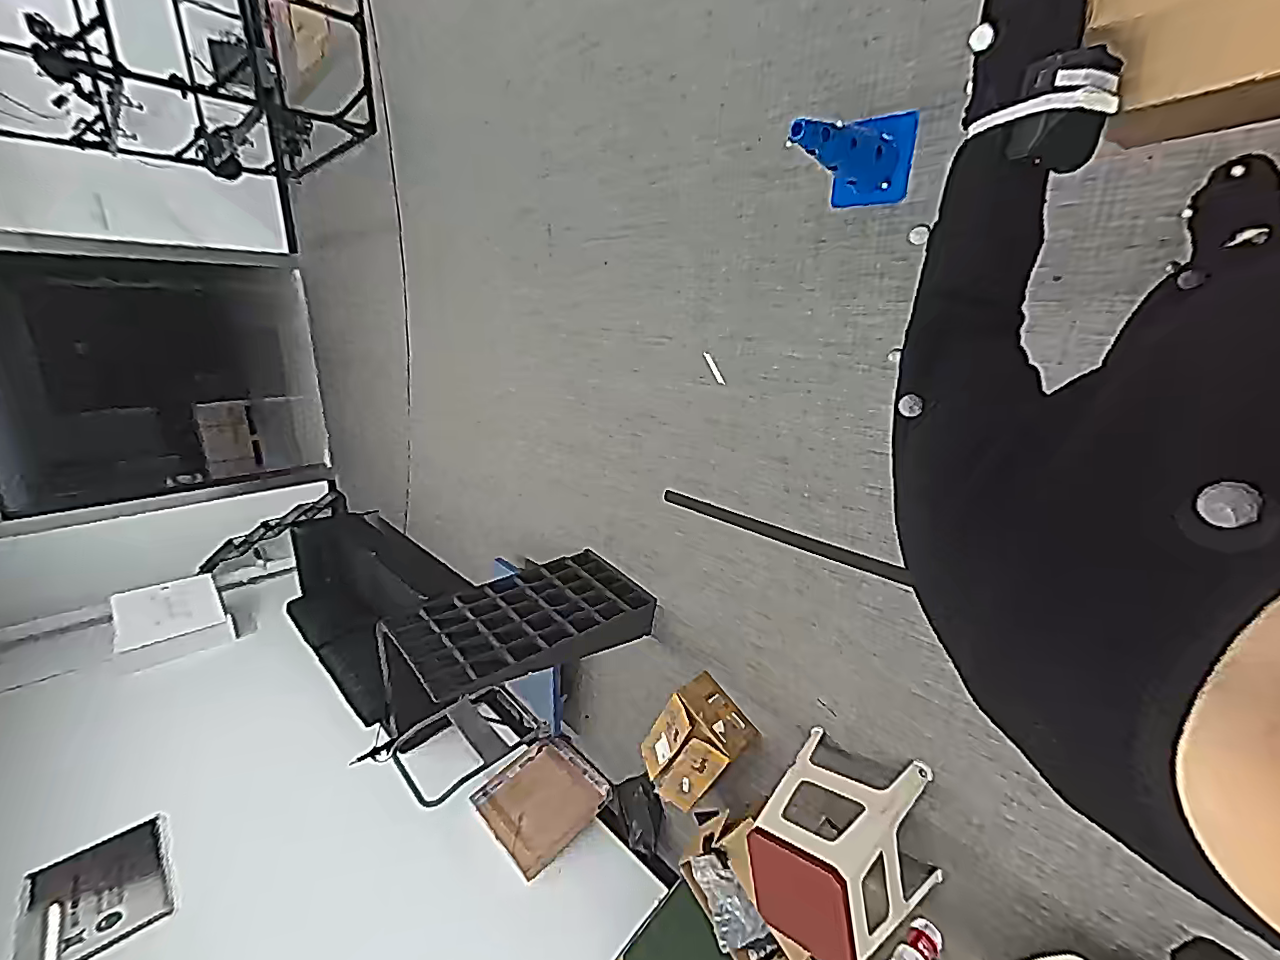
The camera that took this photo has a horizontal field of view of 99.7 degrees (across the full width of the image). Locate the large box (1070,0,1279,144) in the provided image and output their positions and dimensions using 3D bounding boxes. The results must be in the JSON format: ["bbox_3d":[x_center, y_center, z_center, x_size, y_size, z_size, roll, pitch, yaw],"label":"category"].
[{"bbox_3d":[0.537,-0.438,0.314,0.408,0.320,0.320,11,117,43],"label":"large box"}]

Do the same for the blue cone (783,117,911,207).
[{"bbox_3d":[0.466,-0.779,1.275,0.192,0.380,0.193,23,117,43],"label":"blue cone"}]
